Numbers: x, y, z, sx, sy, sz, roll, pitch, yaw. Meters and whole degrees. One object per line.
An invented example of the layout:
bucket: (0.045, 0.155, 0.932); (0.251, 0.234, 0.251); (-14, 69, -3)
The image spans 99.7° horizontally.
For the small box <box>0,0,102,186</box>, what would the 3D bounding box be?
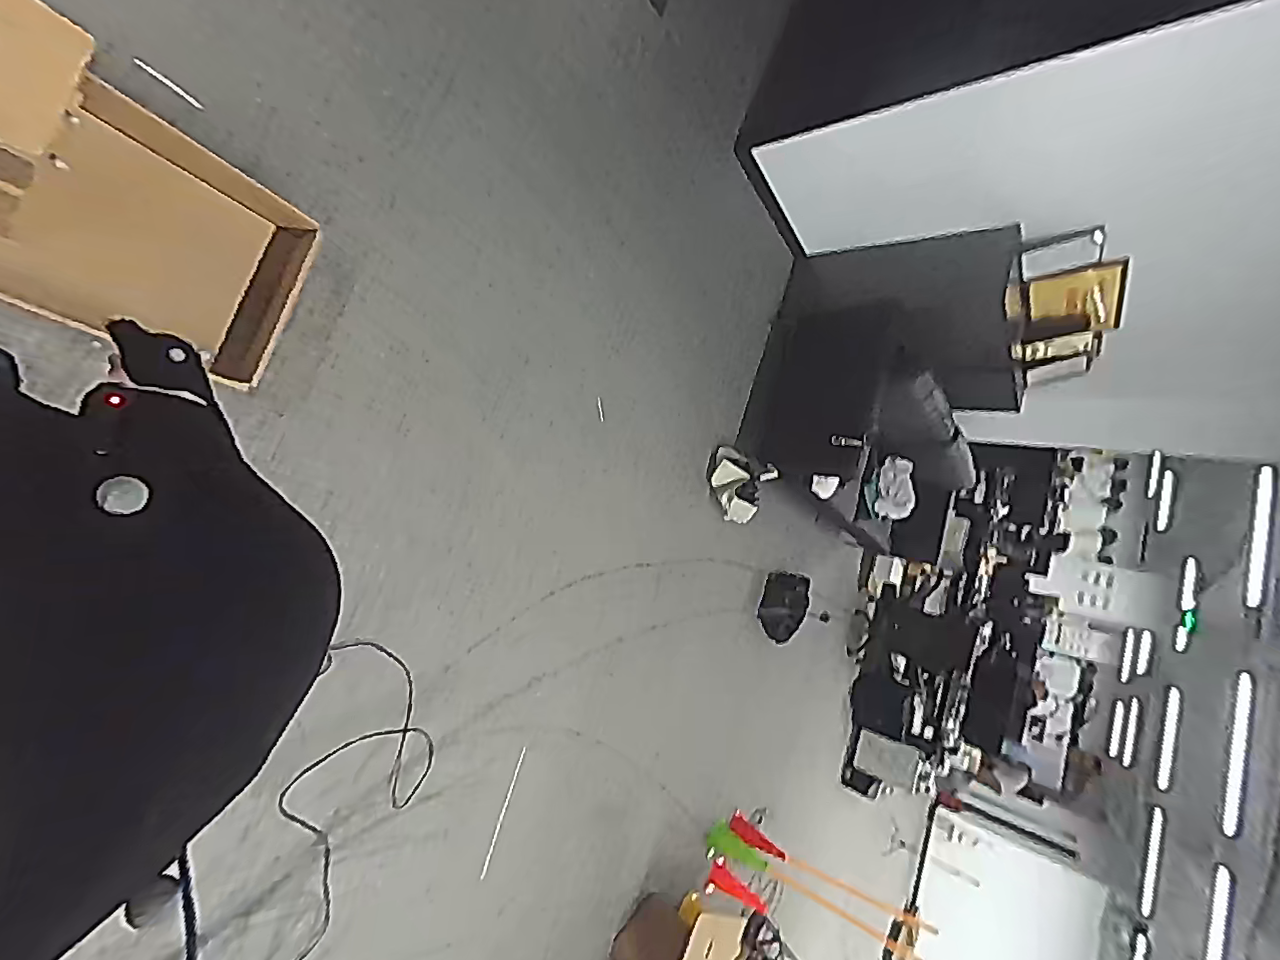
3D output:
small box: (-0.781, -0.480, 0.629); (0.168, 0.176, 0.179); (27, 76, -51)

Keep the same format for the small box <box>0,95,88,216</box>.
small box: (-0.907, -0.494, 0.732); (0.168, 0.176, 0.179); (29, 75, -50)

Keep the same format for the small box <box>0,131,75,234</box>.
small box: (-1.033, -0.514, 0.833); (0.168, 0.176, 0.179); (30, 74, -49)
